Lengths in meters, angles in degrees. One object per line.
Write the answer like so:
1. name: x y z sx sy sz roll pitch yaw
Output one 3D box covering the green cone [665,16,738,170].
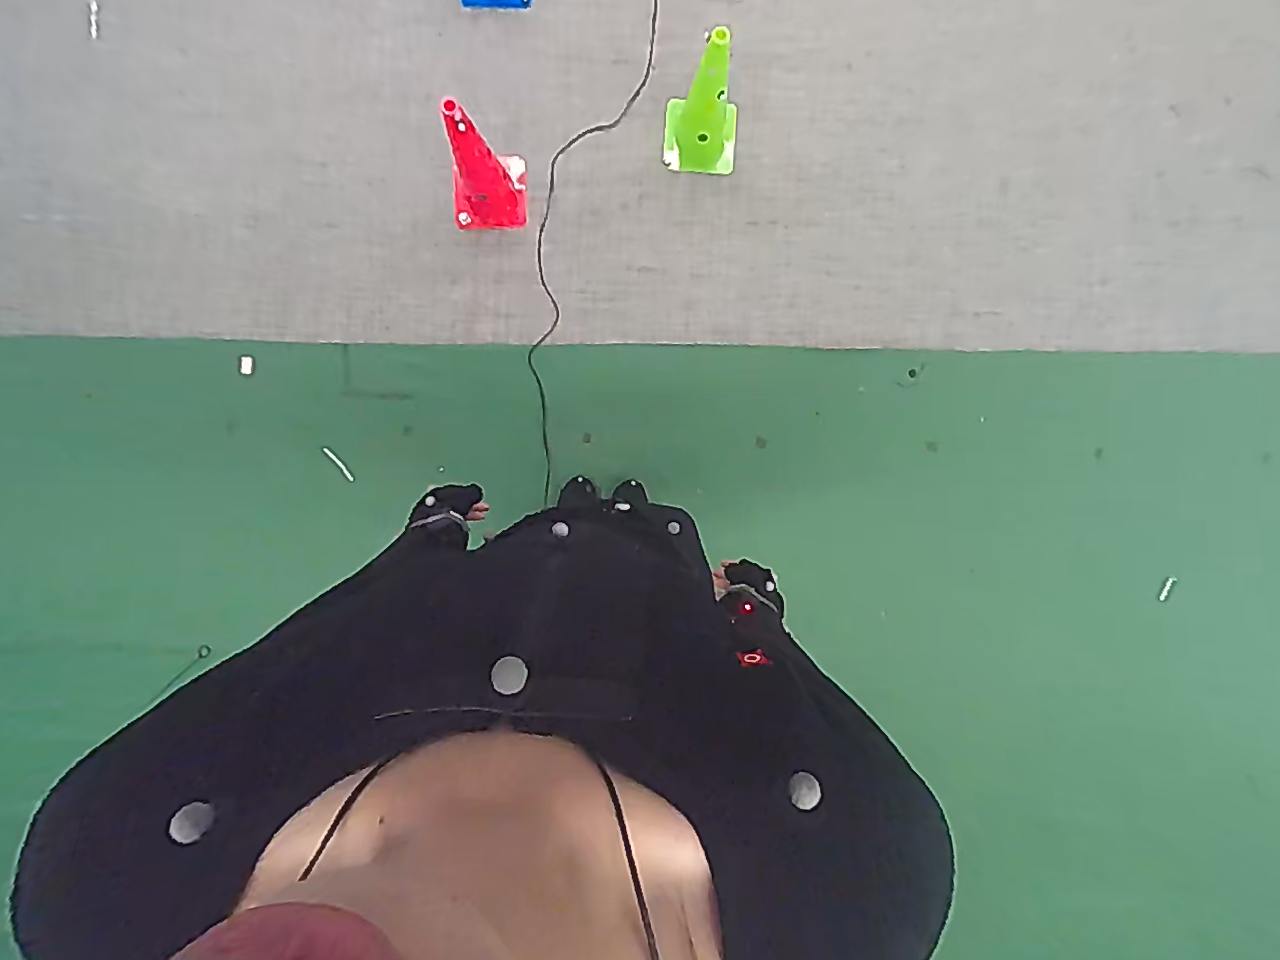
1. green cone: 0.177 -0.977 1.347 0.200 0.368 0.202 3 89 -2
